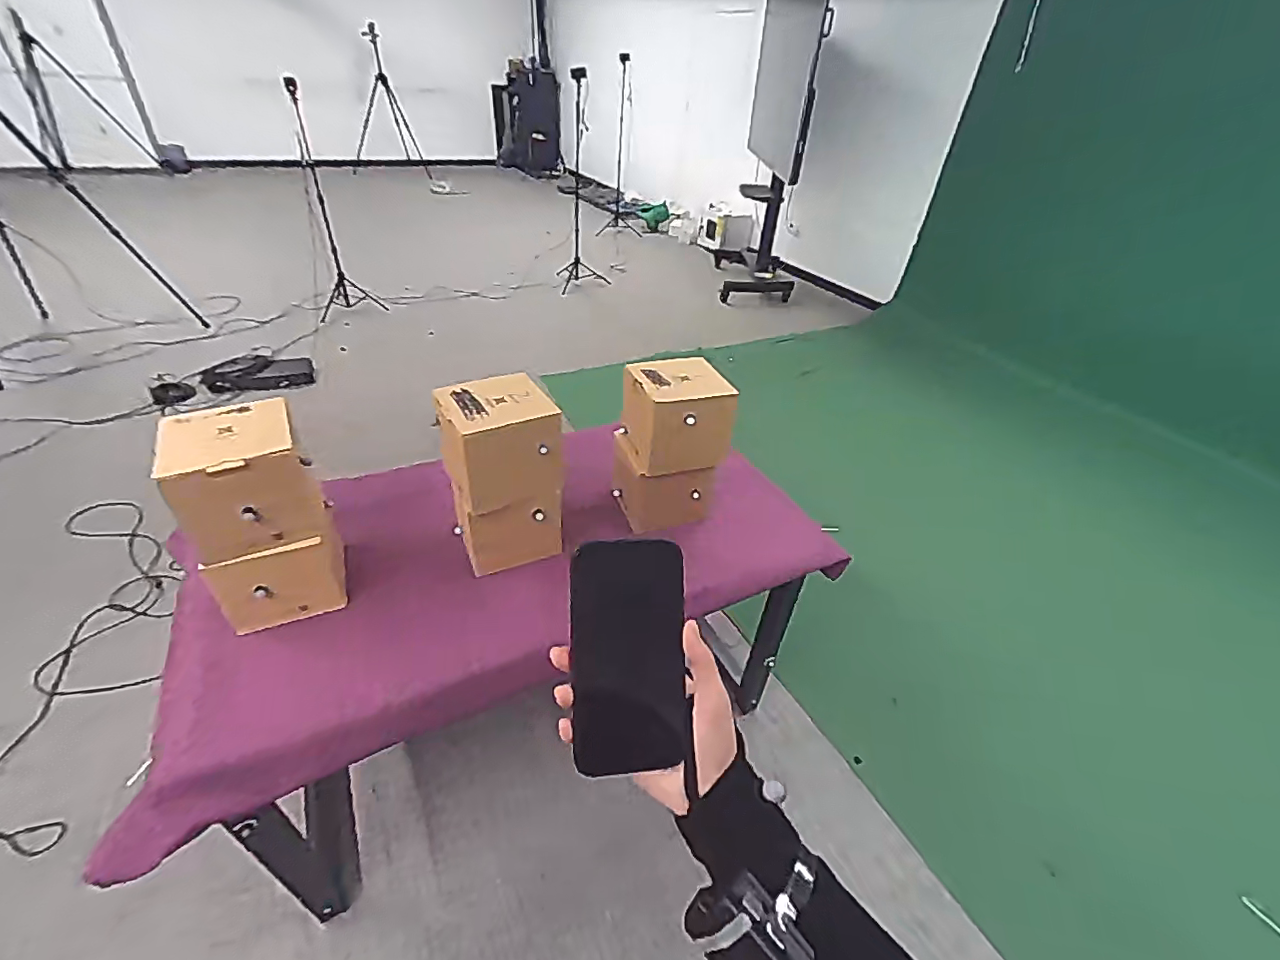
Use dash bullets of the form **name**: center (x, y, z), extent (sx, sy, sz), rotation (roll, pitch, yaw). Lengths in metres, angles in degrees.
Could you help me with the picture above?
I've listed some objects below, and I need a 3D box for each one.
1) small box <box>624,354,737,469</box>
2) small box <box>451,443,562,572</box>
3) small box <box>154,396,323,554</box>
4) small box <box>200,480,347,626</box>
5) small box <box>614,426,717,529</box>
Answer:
- **small box**: center (0.072, -0.138, 1.090), extent (0.179, 0.176, 0.168), rotation (-10, 39, -18)
- **small box**: center (-0.263, 0.053, 1.075), extent (0.179, 0.176, 0.168), rotation (-14, 41, -22)
- **small box**: center (-0.616, -0.005, 0.847), extent (0.168, 0.176, 0.179), rotation (-17, 43, -26)
- **small box**: center (-0.622, 0.130, 0.941), extent (0.168, 0.176, 0.179), rotation (-14, 41, -22)
- **small box**: center (0.048, -0.015, 1.196), extent (0.179, 0.176, 0.168), rotation (-10, 39, -17)
